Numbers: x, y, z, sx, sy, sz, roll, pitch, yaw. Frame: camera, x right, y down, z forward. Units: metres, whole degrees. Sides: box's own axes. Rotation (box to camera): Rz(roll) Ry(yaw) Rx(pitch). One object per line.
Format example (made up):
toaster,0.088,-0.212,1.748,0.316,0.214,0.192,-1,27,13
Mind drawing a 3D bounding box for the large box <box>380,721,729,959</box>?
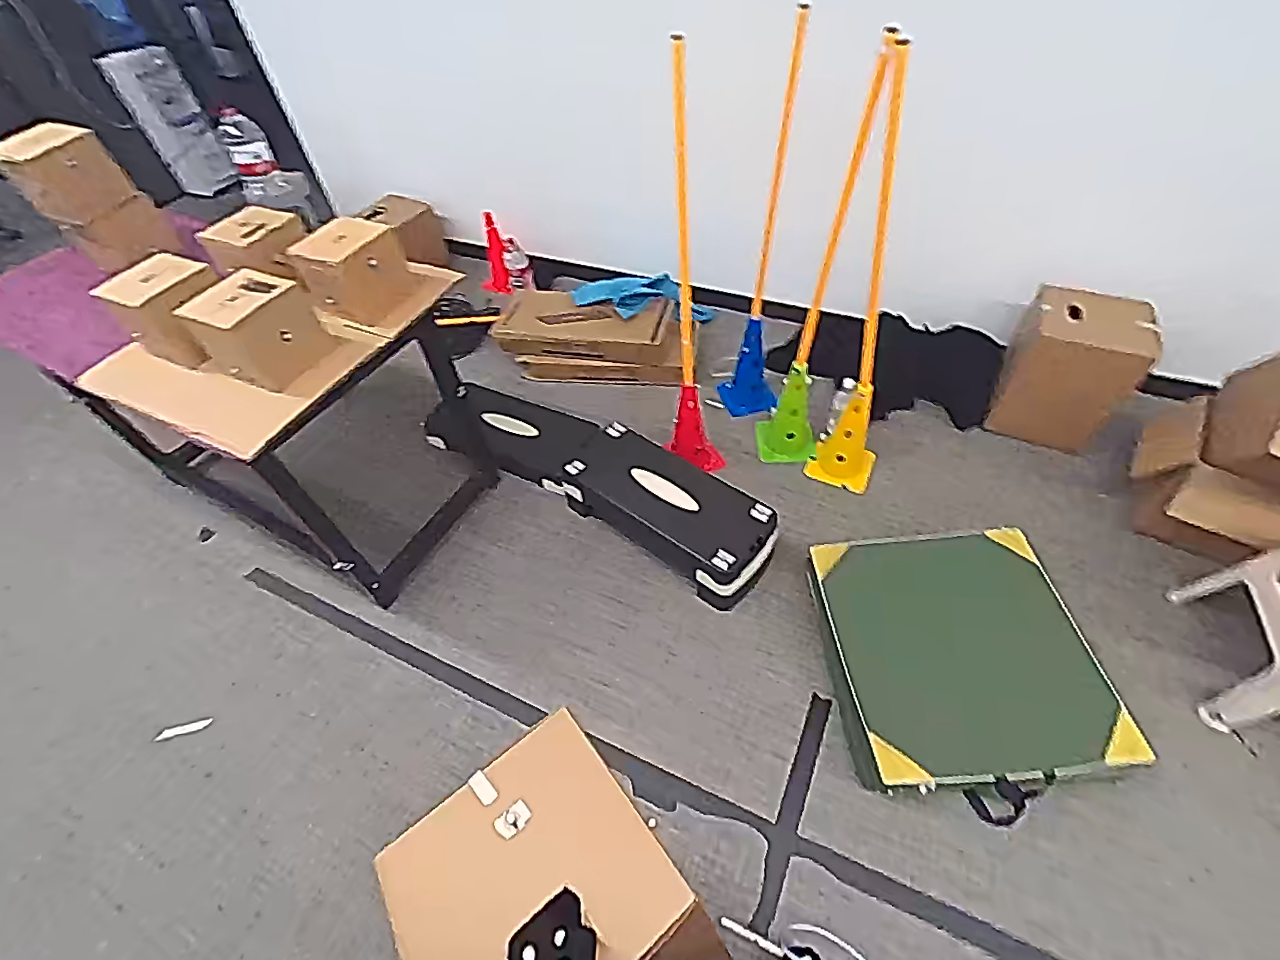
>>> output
large box,-0.106,0.644,0.800,0.320,0.408,0.320,-34,43,-19
